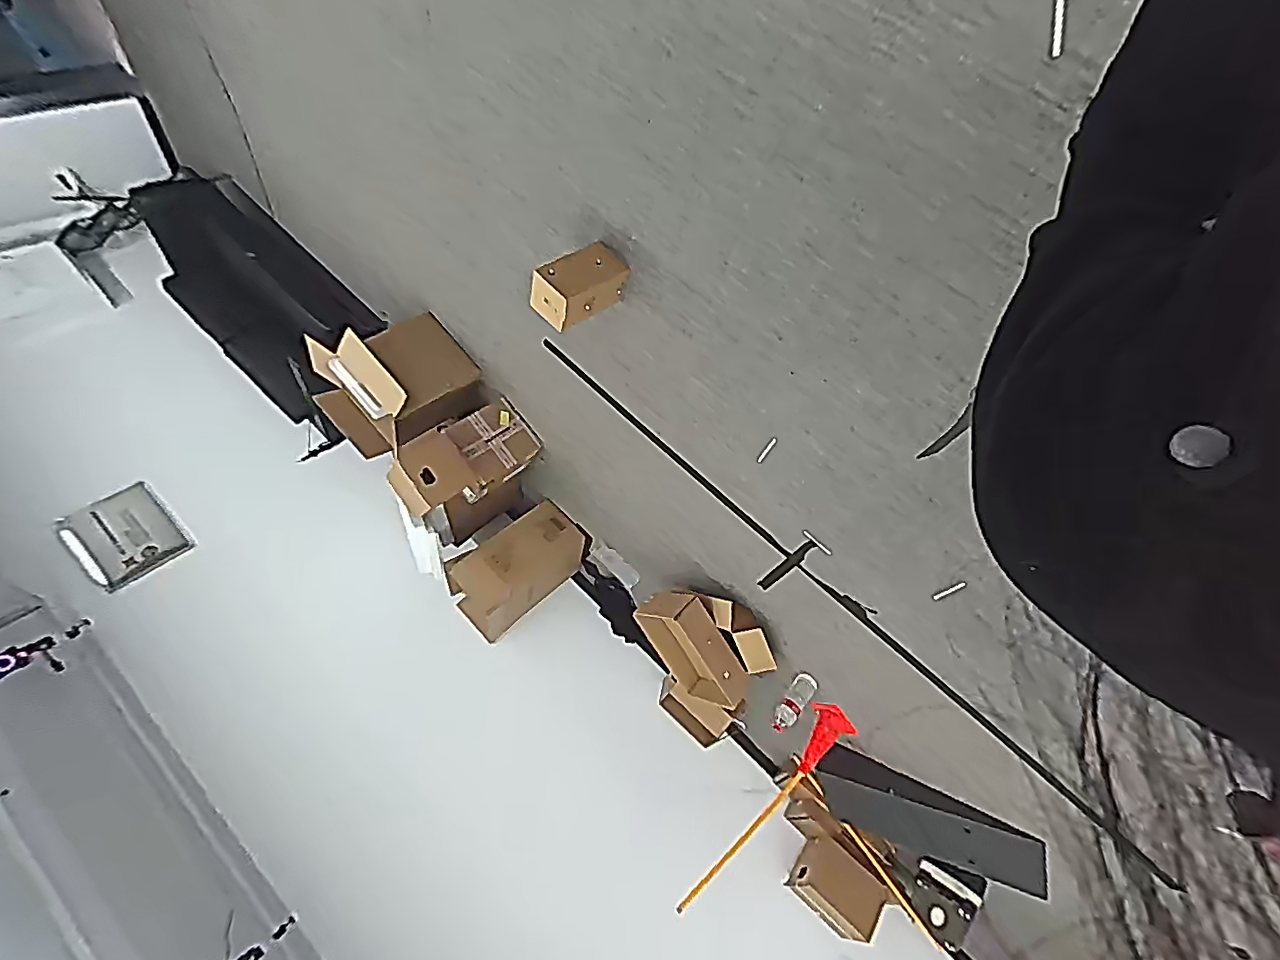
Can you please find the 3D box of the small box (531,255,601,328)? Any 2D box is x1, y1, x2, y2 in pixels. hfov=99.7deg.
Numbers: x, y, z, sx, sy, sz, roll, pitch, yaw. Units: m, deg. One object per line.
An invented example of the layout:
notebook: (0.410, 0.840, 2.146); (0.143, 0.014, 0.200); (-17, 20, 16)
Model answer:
small box: (-0.274, -0.702, 1.994); (0.179, 0.176, 0.168); (44, 149, 9)
